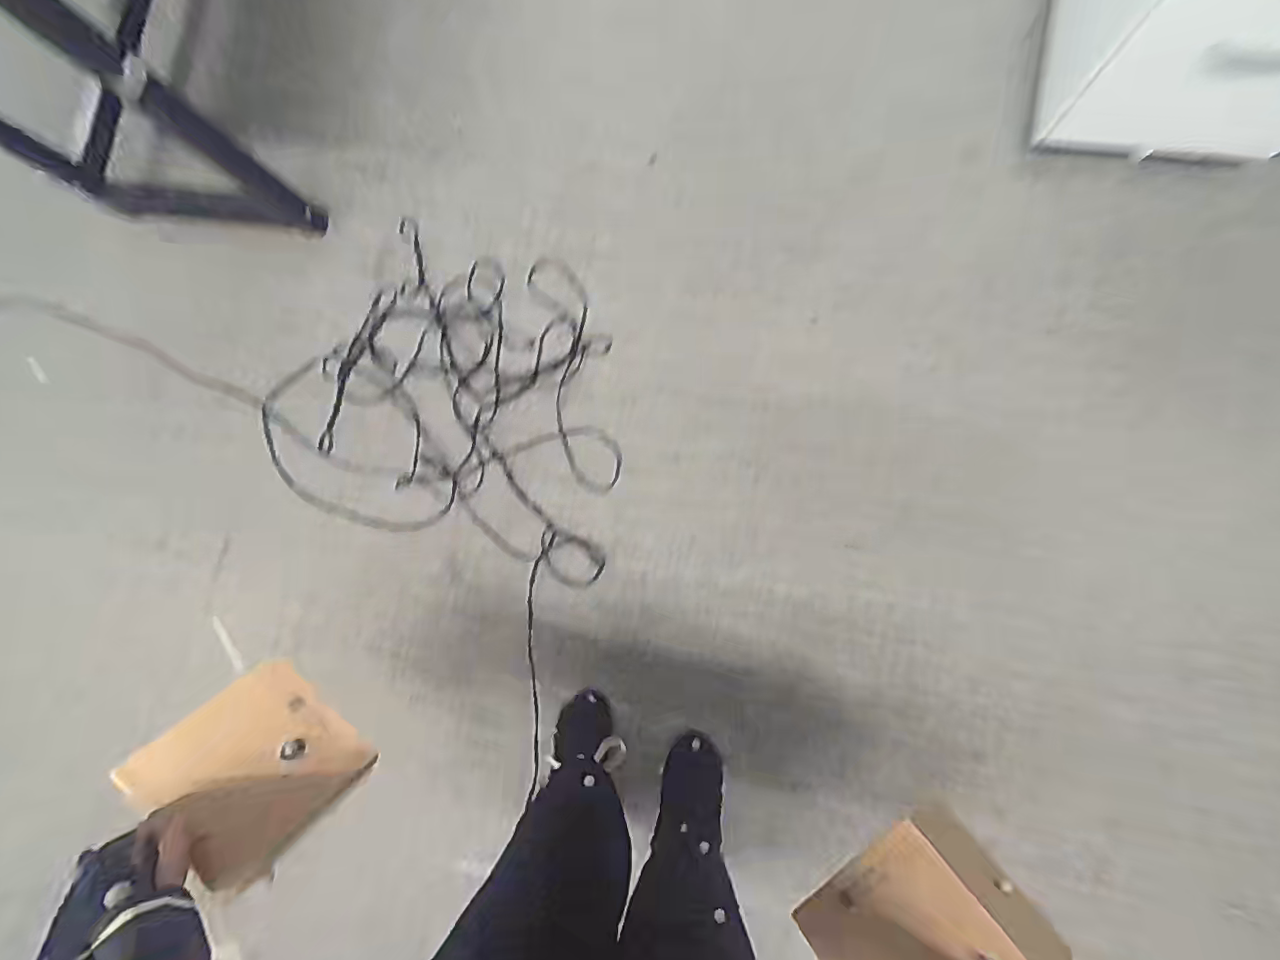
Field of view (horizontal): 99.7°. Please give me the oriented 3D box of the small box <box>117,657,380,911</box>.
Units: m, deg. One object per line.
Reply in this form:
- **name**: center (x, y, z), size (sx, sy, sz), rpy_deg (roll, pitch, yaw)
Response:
- **small box**: center (-0.420, 0.335, 0.607), size (0.168, 0.176, 0.179), rpy_deg (44, 134, 6)
